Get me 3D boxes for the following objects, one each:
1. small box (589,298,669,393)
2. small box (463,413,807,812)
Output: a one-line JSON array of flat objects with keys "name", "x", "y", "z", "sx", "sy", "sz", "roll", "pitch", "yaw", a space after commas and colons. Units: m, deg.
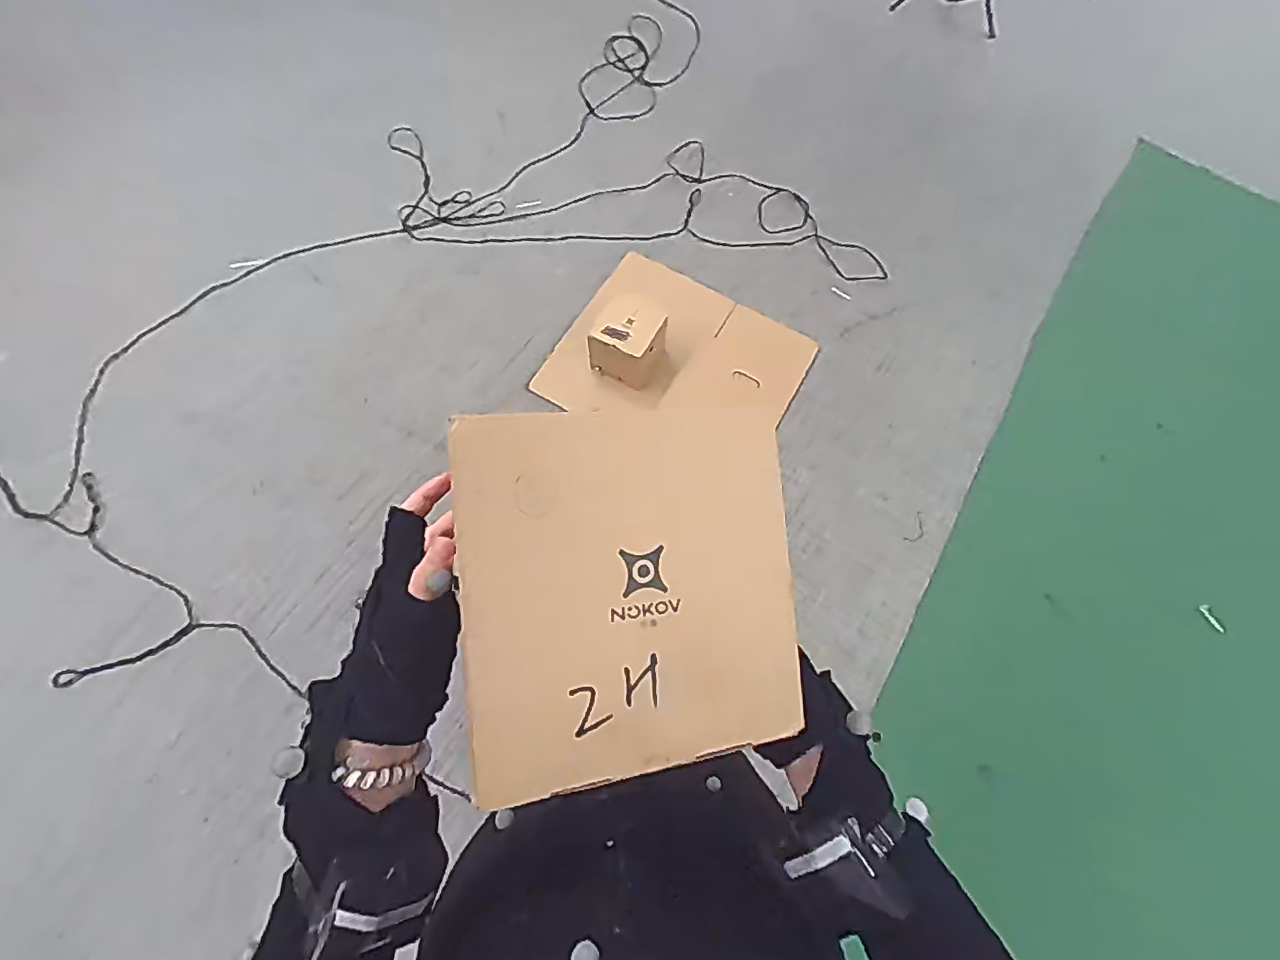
[{"name": "small box", "x": -0.030, "y": -0.382, "z": 1.564, "sx": 0.168, "sy": 0.176, "sz": 0.179, "roll": 27, "pitch": 70, "yaw": 8}, {"name": "small box", "x": -0.021, "y": 0.061, "z": 0.339, "sx": 0.168, "sy": 0.176, "sz": 0.179, "roll": -4, "pitch": 86, "yaw": -18}]
